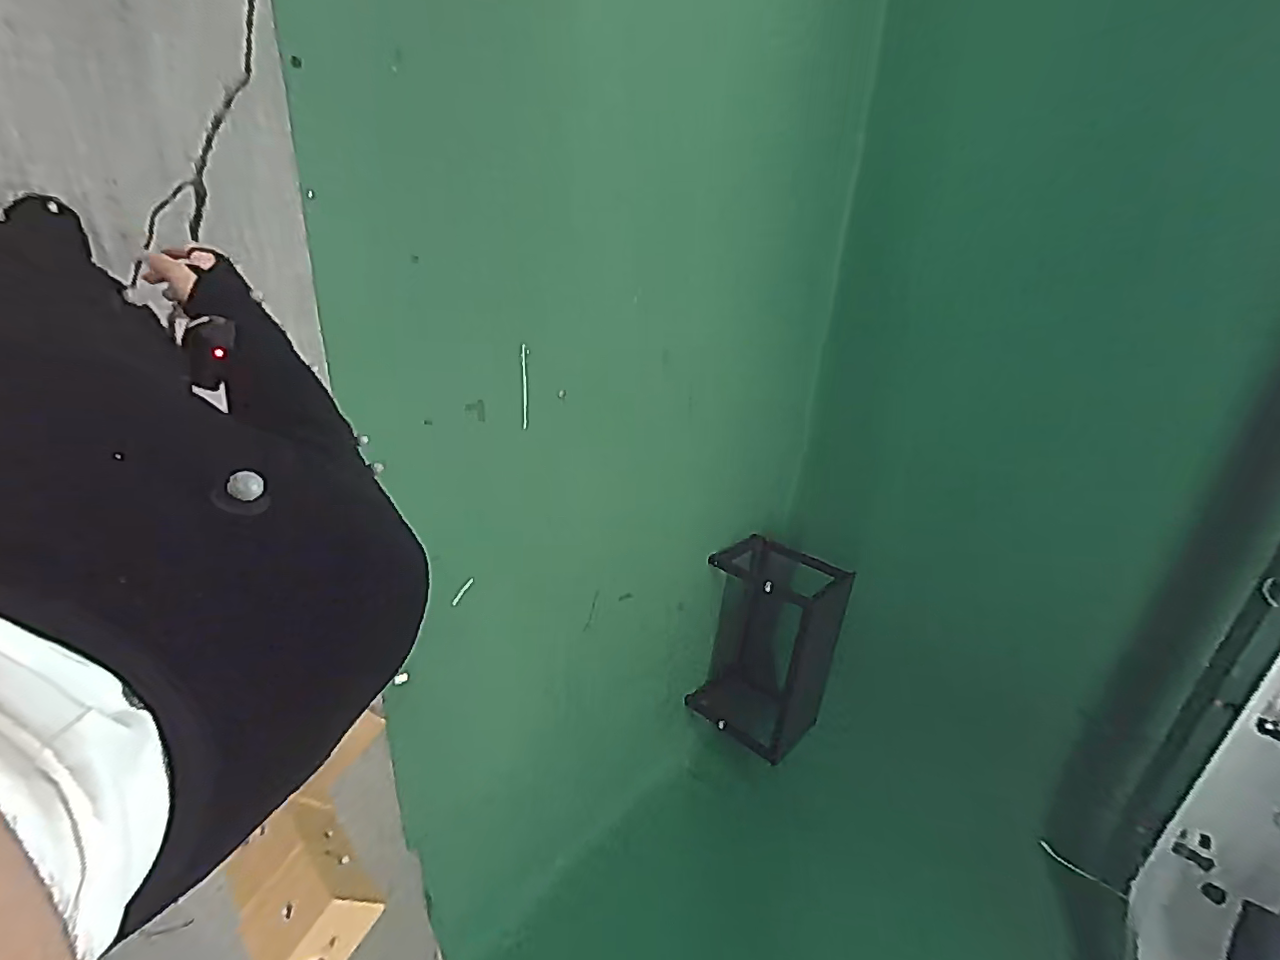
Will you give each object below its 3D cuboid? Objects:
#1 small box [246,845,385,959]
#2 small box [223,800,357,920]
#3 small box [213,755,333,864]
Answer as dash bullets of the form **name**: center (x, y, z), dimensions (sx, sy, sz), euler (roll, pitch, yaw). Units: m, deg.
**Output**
- **small box**: center (-0.692, 0.926, 1.146), dimensions (0.179, 0.176, 0.168), euler (-52, 139, -22)
- **small box**: center (-0.808, 0.880, 1.251), dimensions (0.168, 0.176, 0.179), euler (-50, 138, -23)
- **small box**: center (-0.924, 0.836, 1.356), dimensions (0.179, 0.176, 0.168), euler (-51, 139, -21)
